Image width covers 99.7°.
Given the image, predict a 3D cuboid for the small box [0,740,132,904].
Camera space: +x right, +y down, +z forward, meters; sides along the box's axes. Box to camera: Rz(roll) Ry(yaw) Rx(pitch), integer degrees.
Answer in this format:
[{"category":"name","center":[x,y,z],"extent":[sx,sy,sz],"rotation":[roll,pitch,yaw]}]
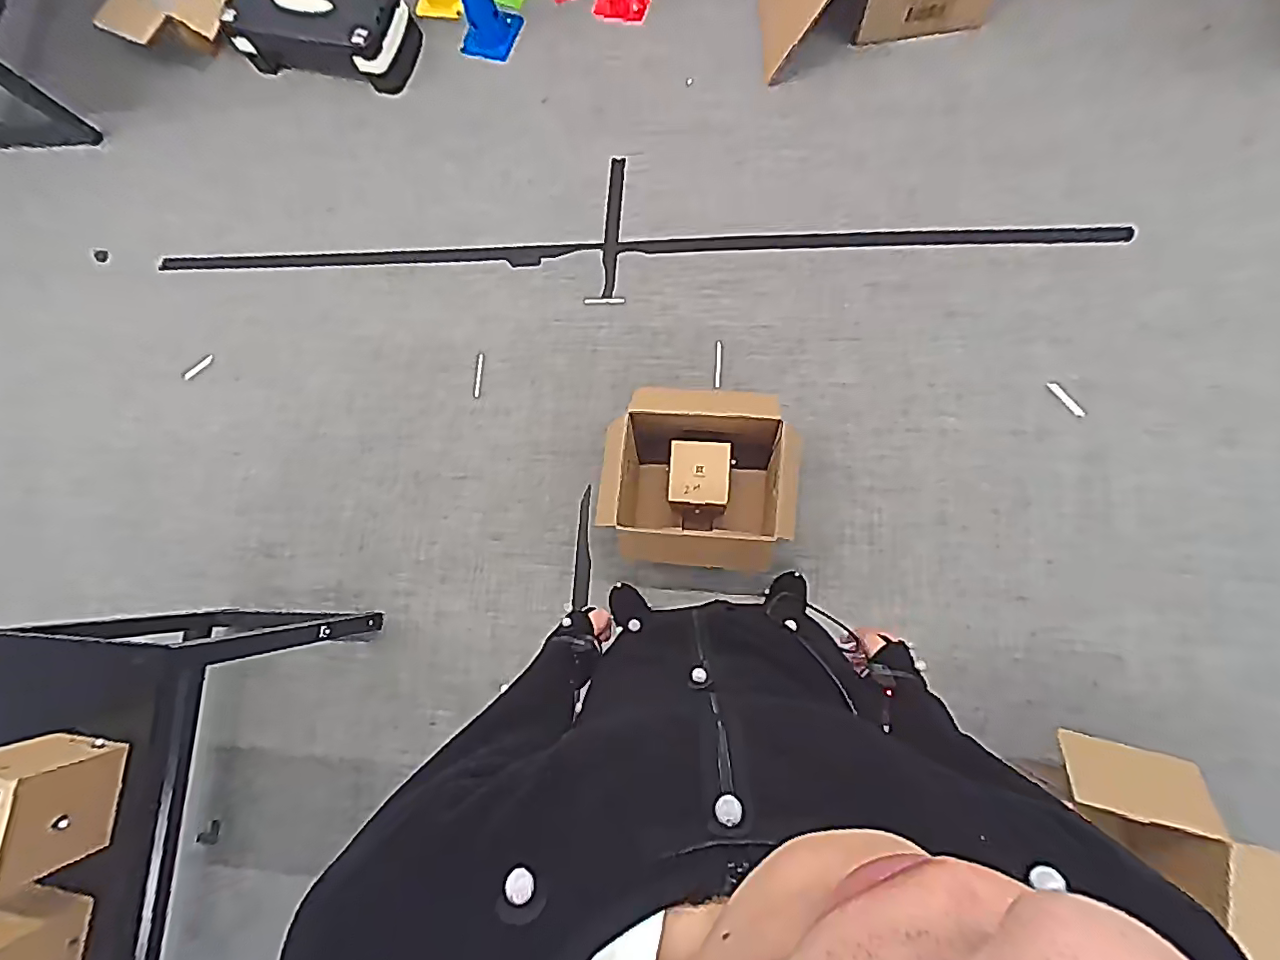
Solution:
[{"category":"small box","center":[-1.032,0.567,0.924],"extent":[0.168,0.176,0.179],"rotation":[3,83,9]}]
